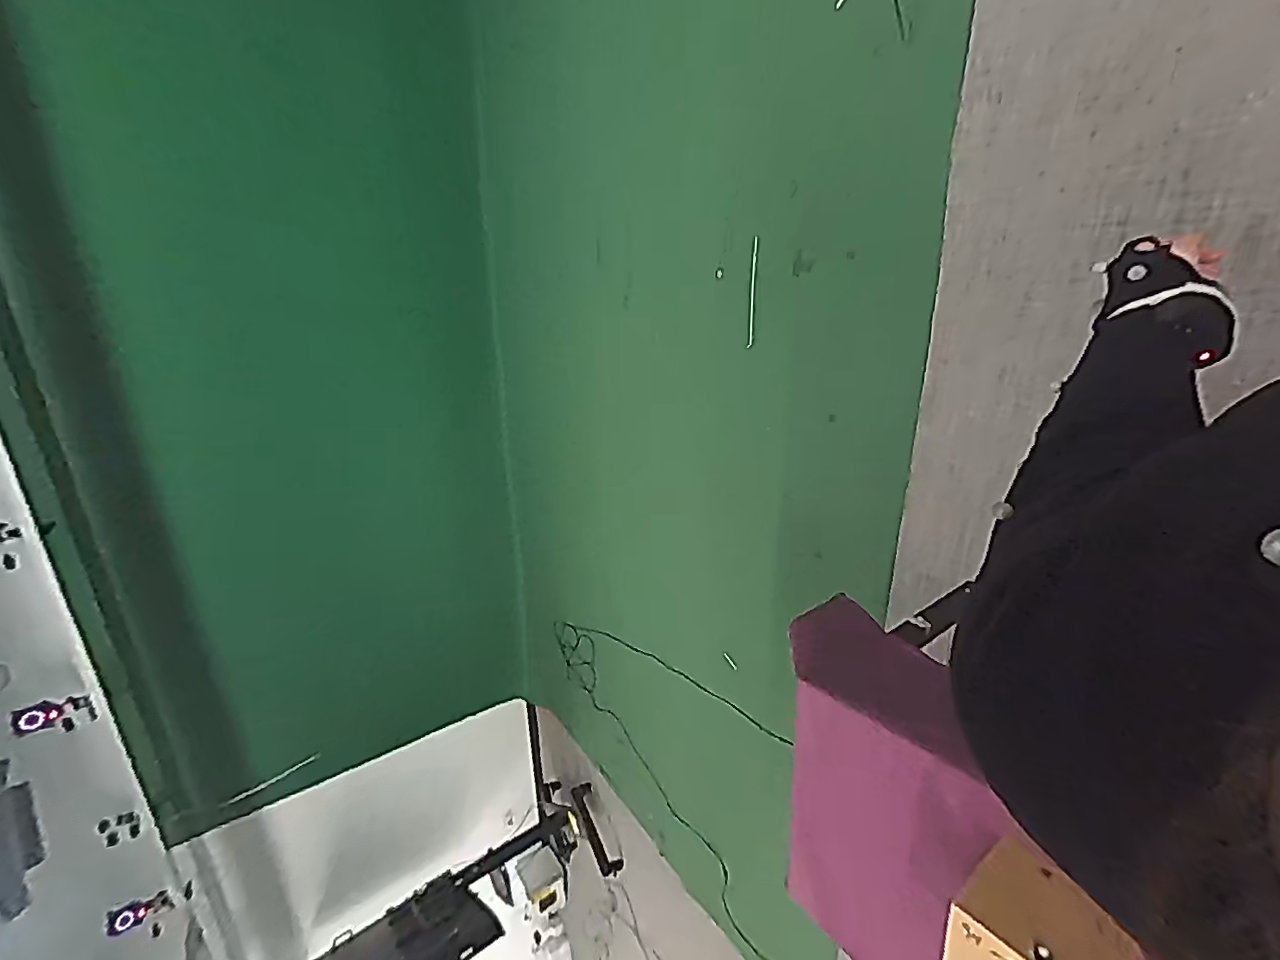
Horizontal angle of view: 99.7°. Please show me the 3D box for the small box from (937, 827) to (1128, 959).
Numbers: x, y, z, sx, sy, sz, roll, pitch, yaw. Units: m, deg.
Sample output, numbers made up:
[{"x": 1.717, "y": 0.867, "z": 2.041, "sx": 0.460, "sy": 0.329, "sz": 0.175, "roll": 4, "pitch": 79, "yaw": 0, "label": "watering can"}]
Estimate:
[{"x": 0.545, "y": 0.647, "z": 0.757, "sx": 0.168, "sy": 0.176, "sz": 0.179, "roll": 18, "pitch": 117, "yaw": 51, "label": "small box"}]
